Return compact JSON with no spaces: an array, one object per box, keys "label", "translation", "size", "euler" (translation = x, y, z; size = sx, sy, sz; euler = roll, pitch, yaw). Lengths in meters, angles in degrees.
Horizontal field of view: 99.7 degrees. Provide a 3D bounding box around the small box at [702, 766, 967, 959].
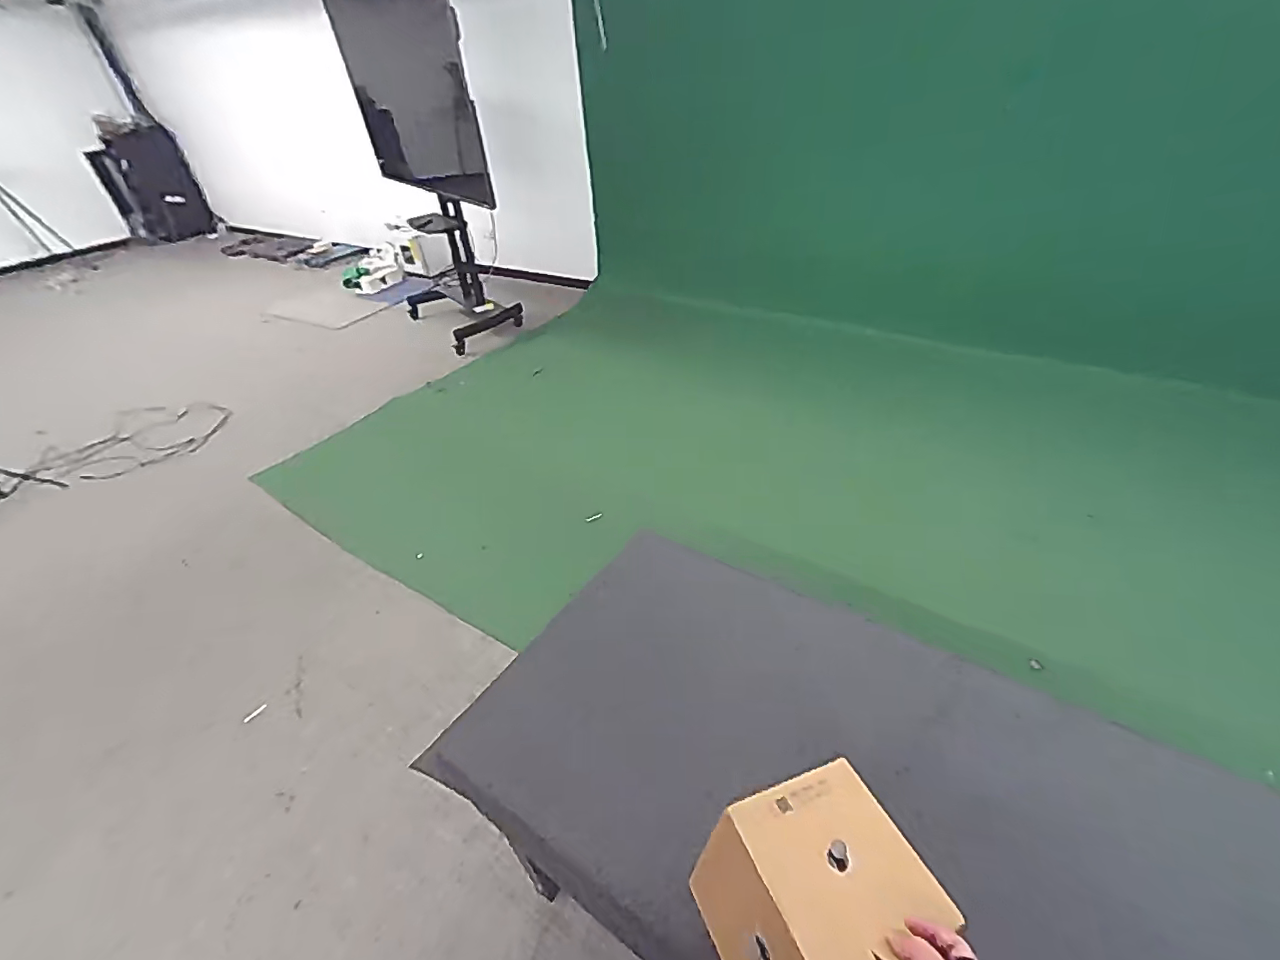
[{"label":"small box","translation":[0.185,0.432,0.566],"size":[0.168,0.179,0.176],"euler":[-9,38,-25]}]
